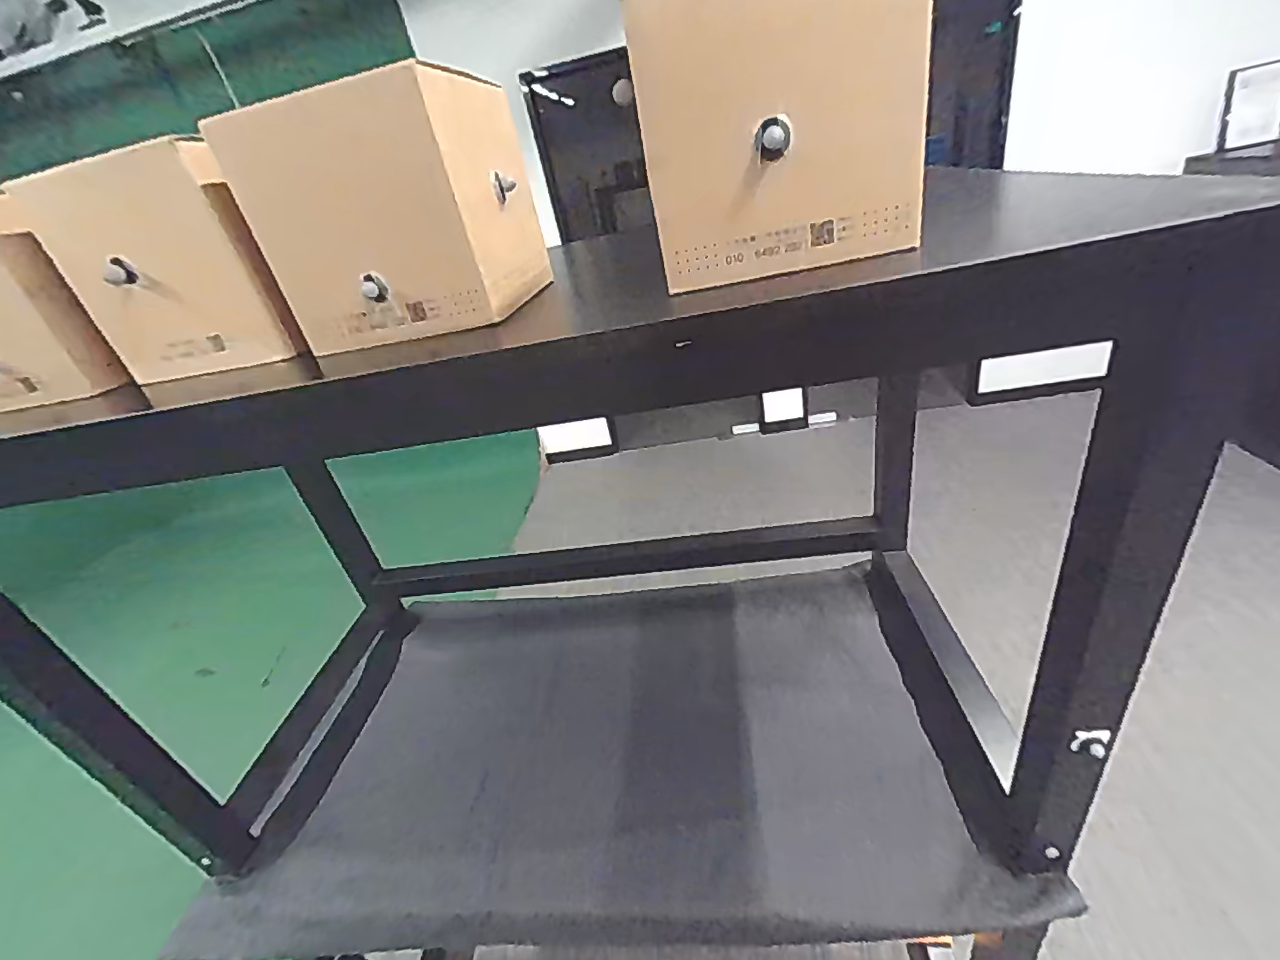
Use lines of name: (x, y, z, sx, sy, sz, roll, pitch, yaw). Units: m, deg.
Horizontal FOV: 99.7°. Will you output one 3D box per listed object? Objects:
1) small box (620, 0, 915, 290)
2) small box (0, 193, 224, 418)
small box: (0.092, -0.248, 0.399, 0.168, 0.176, 0.179, -7, 29, 10)
small box: (-0.571, -0.175, 0.541, 0.168, 0.176, 0.179, -7, 31, 11)
